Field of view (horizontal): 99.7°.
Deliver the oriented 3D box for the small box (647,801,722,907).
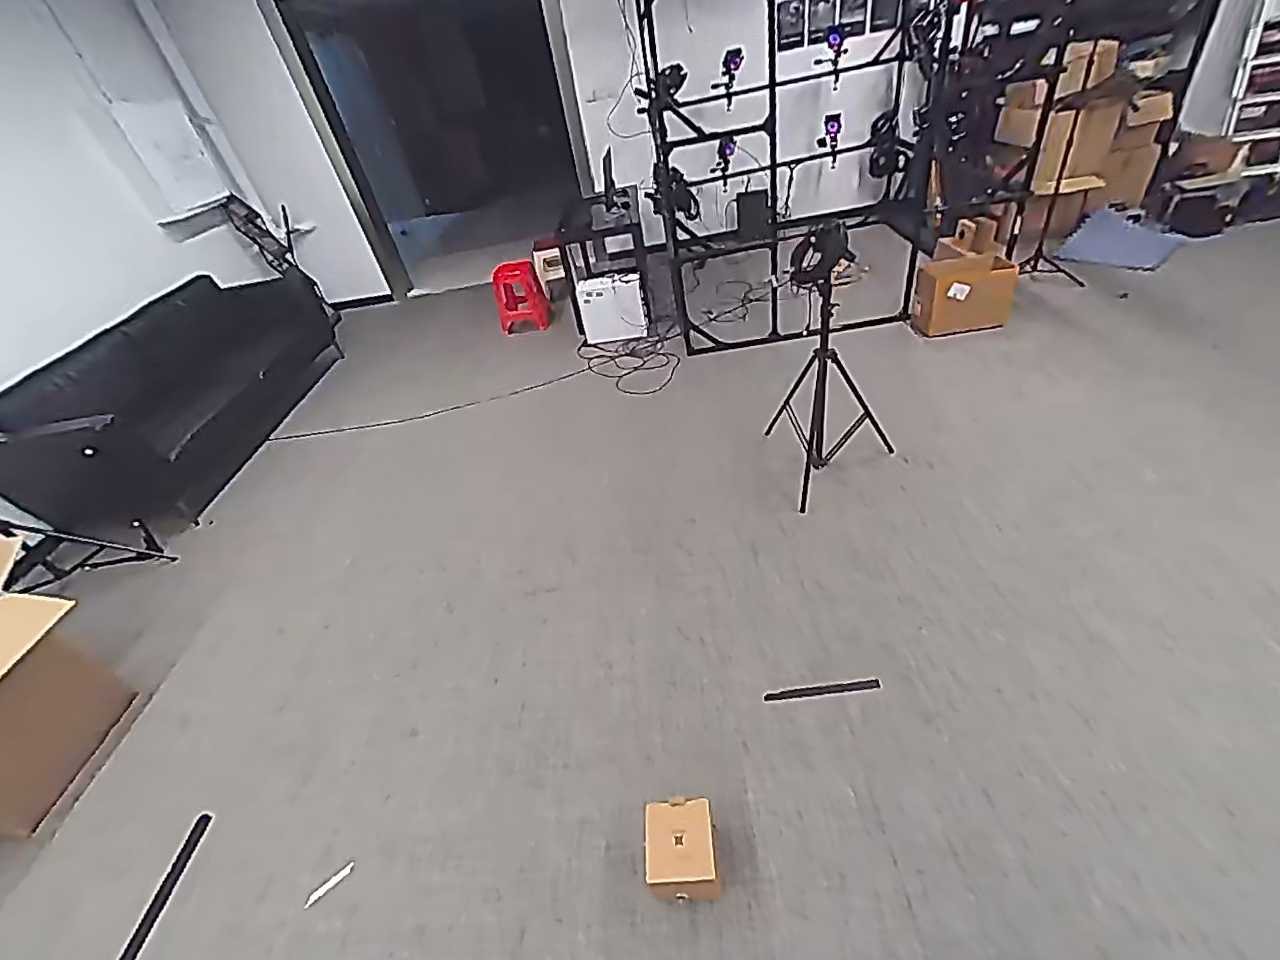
[{"bbox_3d":[0.110,0.938,1.355,0.168,0.176,0.179,-9,38,7],"label":"small box"}]
